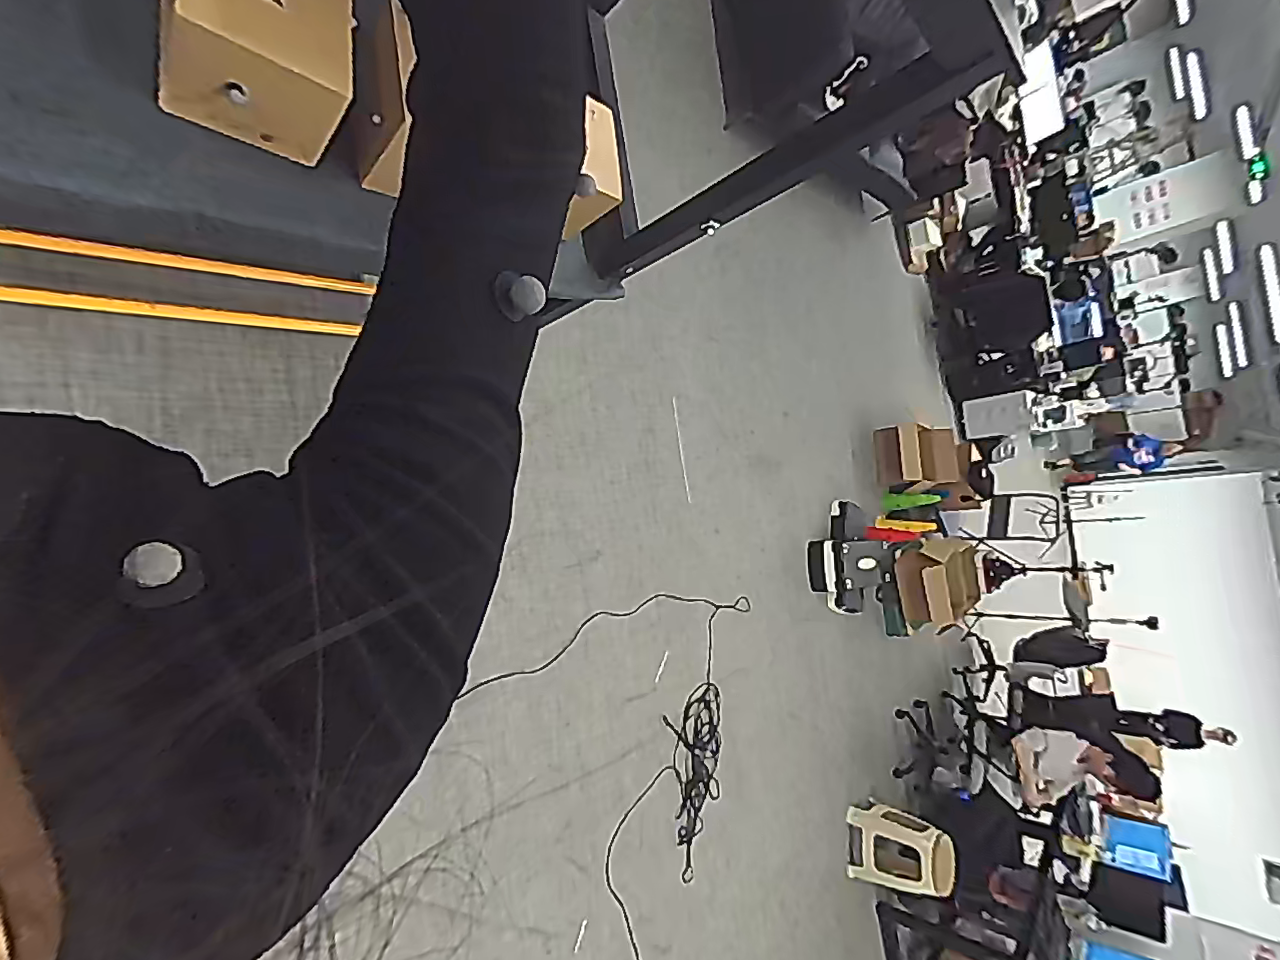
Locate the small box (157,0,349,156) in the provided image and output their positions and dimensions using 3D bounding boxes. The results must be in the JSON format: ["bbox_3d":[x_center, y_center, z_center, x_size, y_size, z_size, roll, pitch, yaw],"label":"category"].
[{"bbox_3d":[-0.468,-0.541,0.656,0.168,0.176,0.179,2,82,-46],"label":"small box"}]

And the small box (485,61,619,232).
[{"bbox_3d":[-0.161,-0.578,0.971,0.168,0.176,0.179,-3,85,-46],"label":"small box"}]
